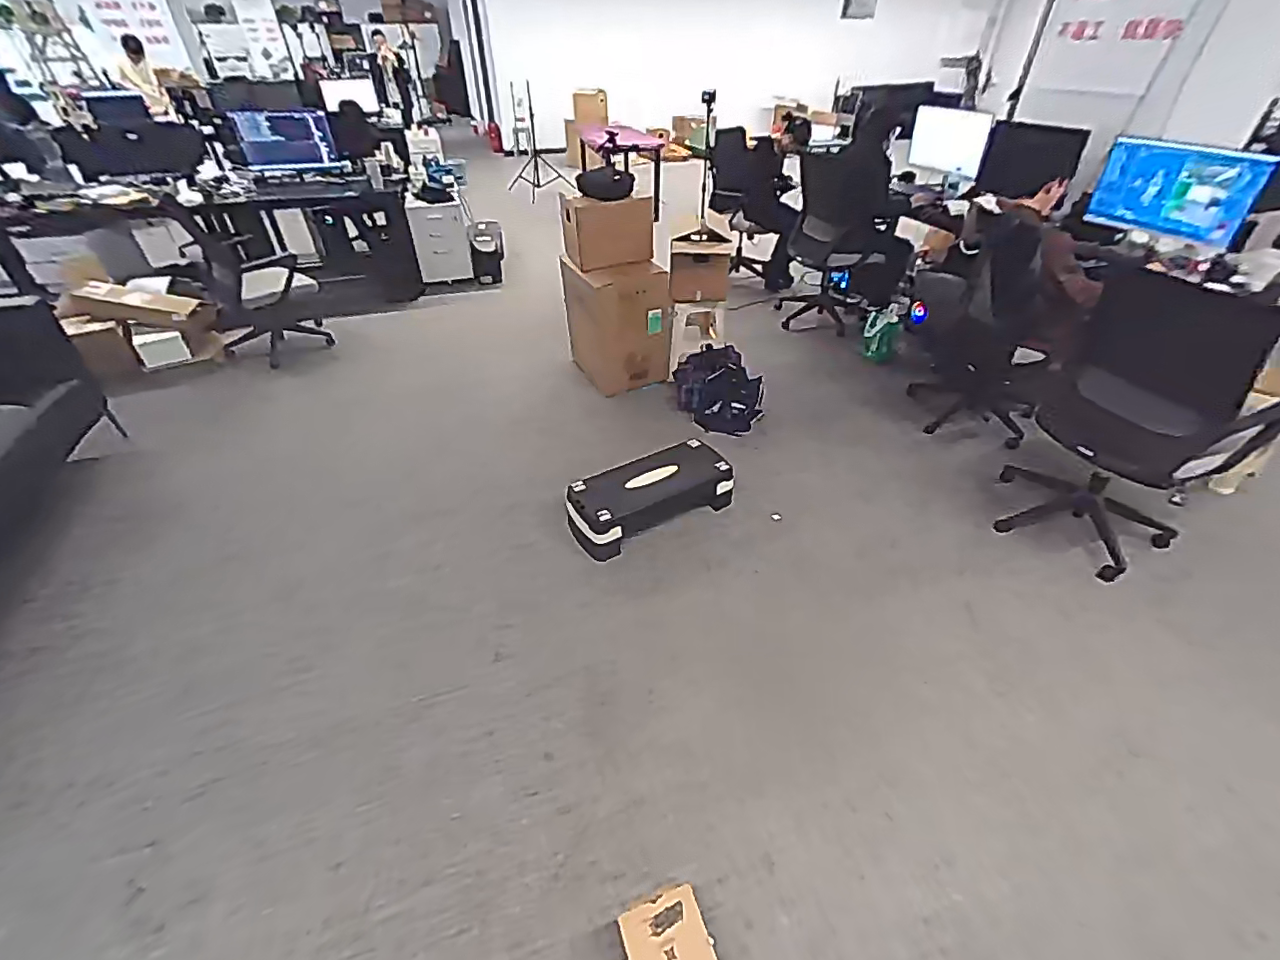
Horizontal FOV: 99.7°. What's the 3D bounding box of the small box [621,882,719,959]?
[{"bbox_3d":[0.064,0.985,1.117,0.168,0.176,0.179,-14,41,-14],"label":"small box"}]
